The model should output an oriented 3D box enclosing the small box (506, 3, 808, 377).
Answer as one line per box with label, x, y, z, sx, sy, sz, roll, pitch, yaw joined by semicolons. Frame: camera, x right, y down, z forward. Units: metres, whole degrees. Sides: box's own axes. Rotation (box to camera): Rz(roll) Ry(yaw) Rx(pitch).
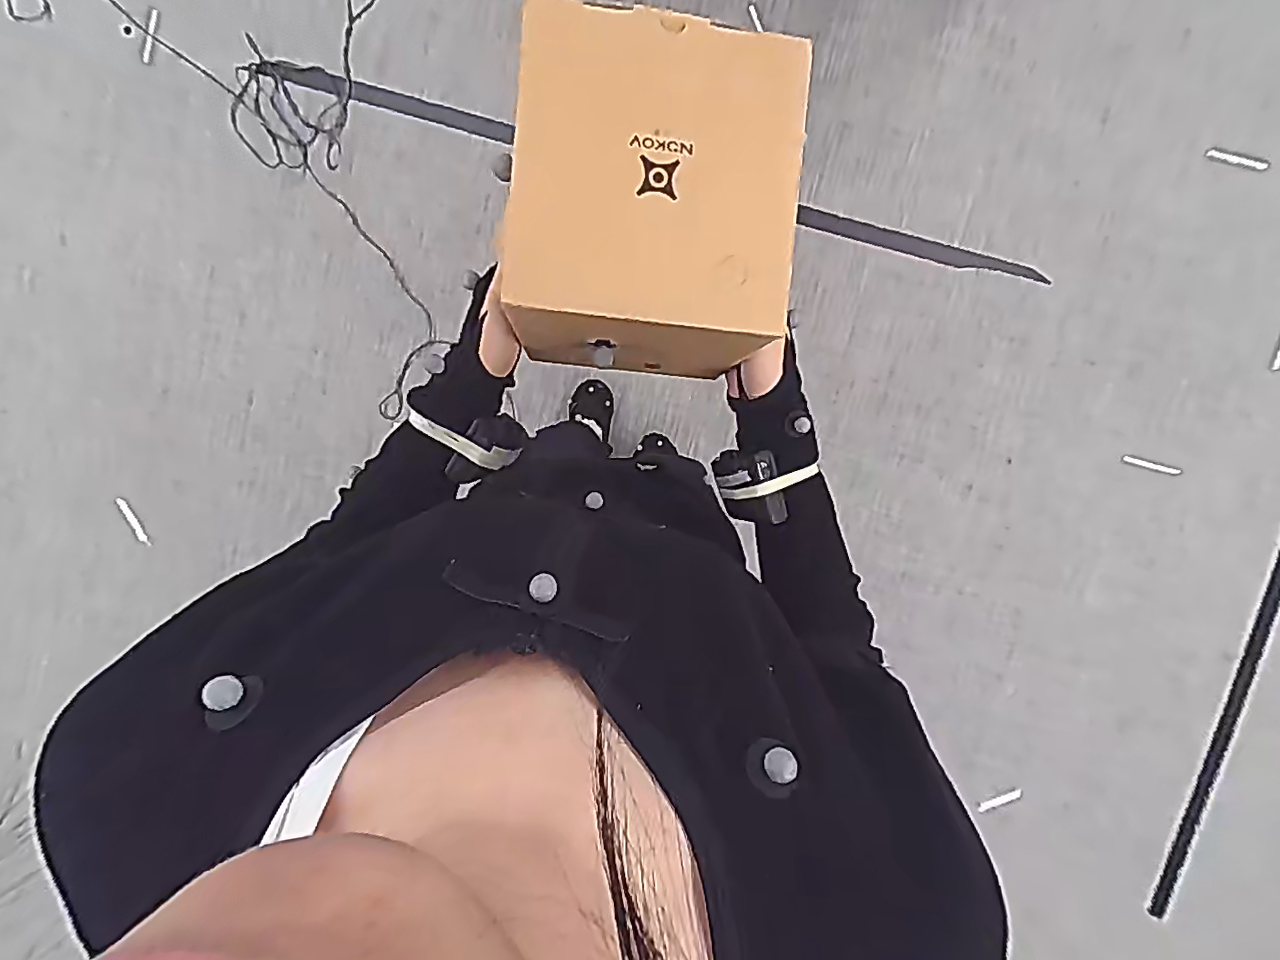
small box;0.004;-0.179;0.394;0.168;0.176;0.179;5;90;-6
